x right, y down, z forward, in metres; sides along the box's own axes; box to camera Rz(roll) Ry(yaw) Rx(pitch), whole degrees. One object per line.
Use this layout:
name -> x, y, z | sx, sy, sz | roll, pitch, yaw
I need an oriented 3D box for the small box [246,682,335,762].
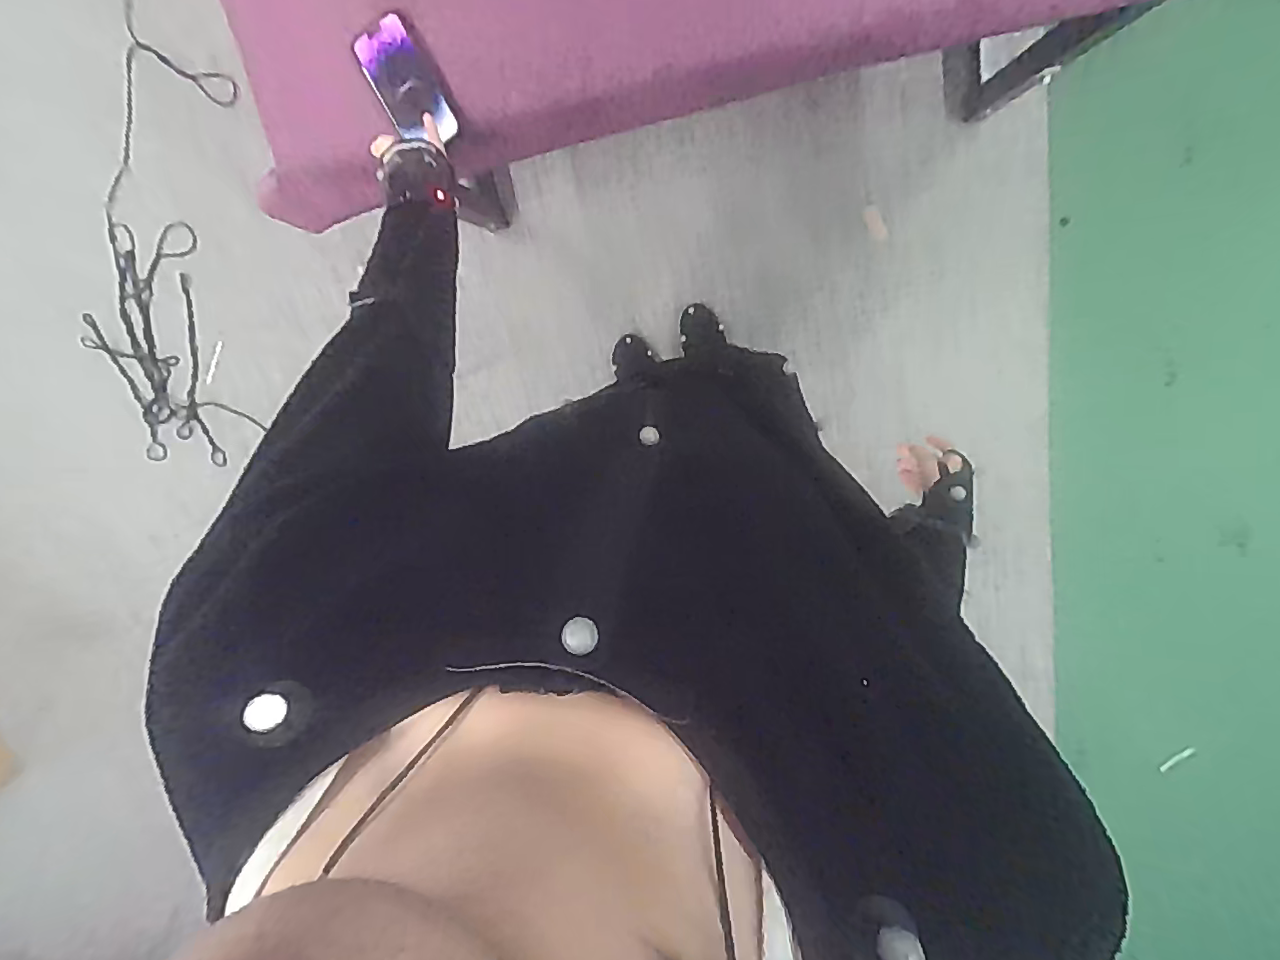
small box -> -1.156, 0.791, 1.787 | 0.168, 0.176, 0.179 | -11, 107, 9
